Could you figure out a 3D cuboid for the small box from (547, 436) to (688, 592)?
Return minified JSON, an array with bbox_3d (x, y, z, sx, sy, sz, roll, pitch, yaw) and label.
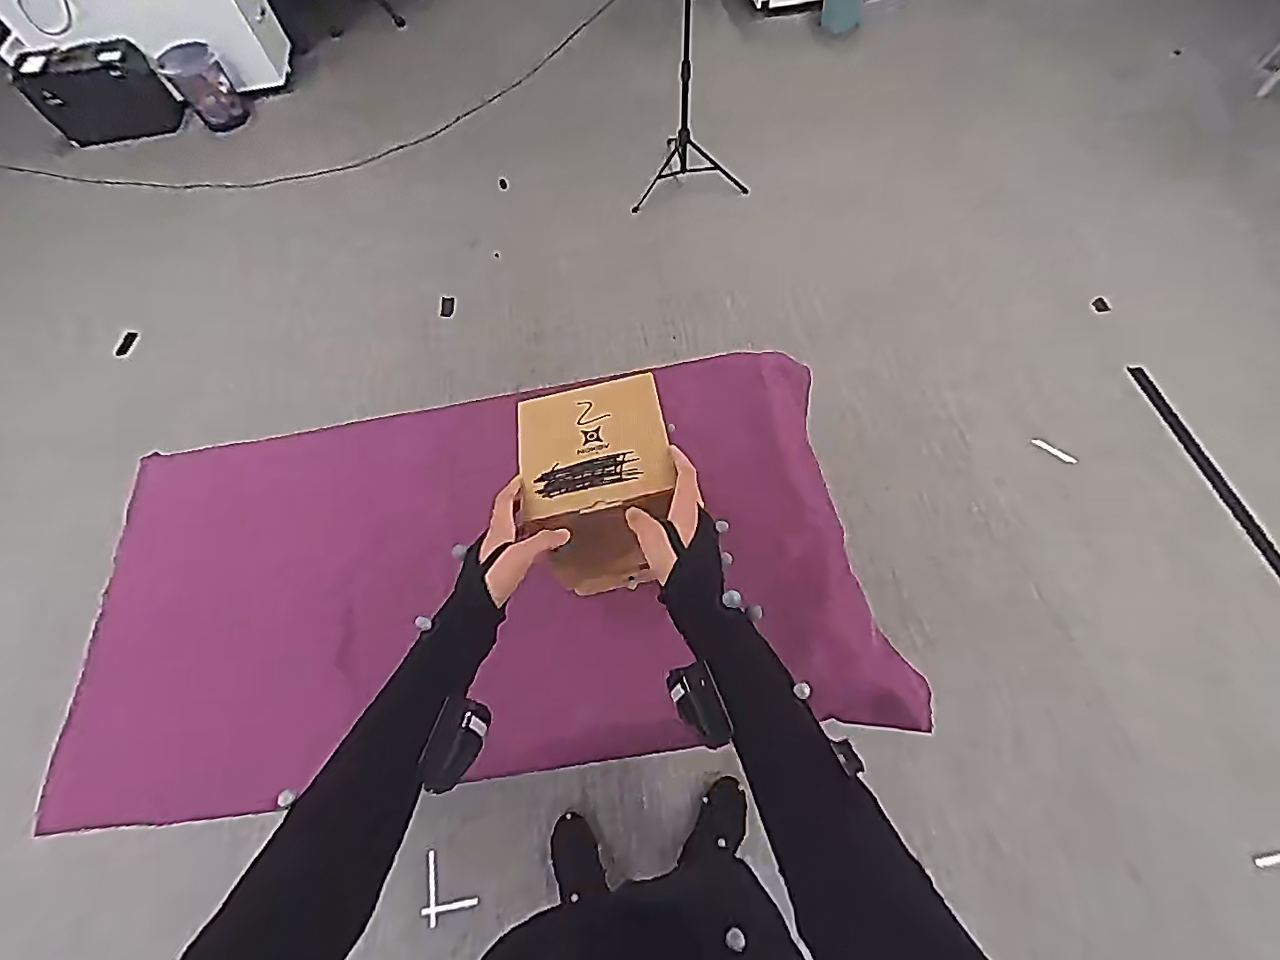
[{"bbox_3d":[-0.032,0.058,0.822,0.179,0.176,0.168,-12,63,-3],"label":"small box"}]
